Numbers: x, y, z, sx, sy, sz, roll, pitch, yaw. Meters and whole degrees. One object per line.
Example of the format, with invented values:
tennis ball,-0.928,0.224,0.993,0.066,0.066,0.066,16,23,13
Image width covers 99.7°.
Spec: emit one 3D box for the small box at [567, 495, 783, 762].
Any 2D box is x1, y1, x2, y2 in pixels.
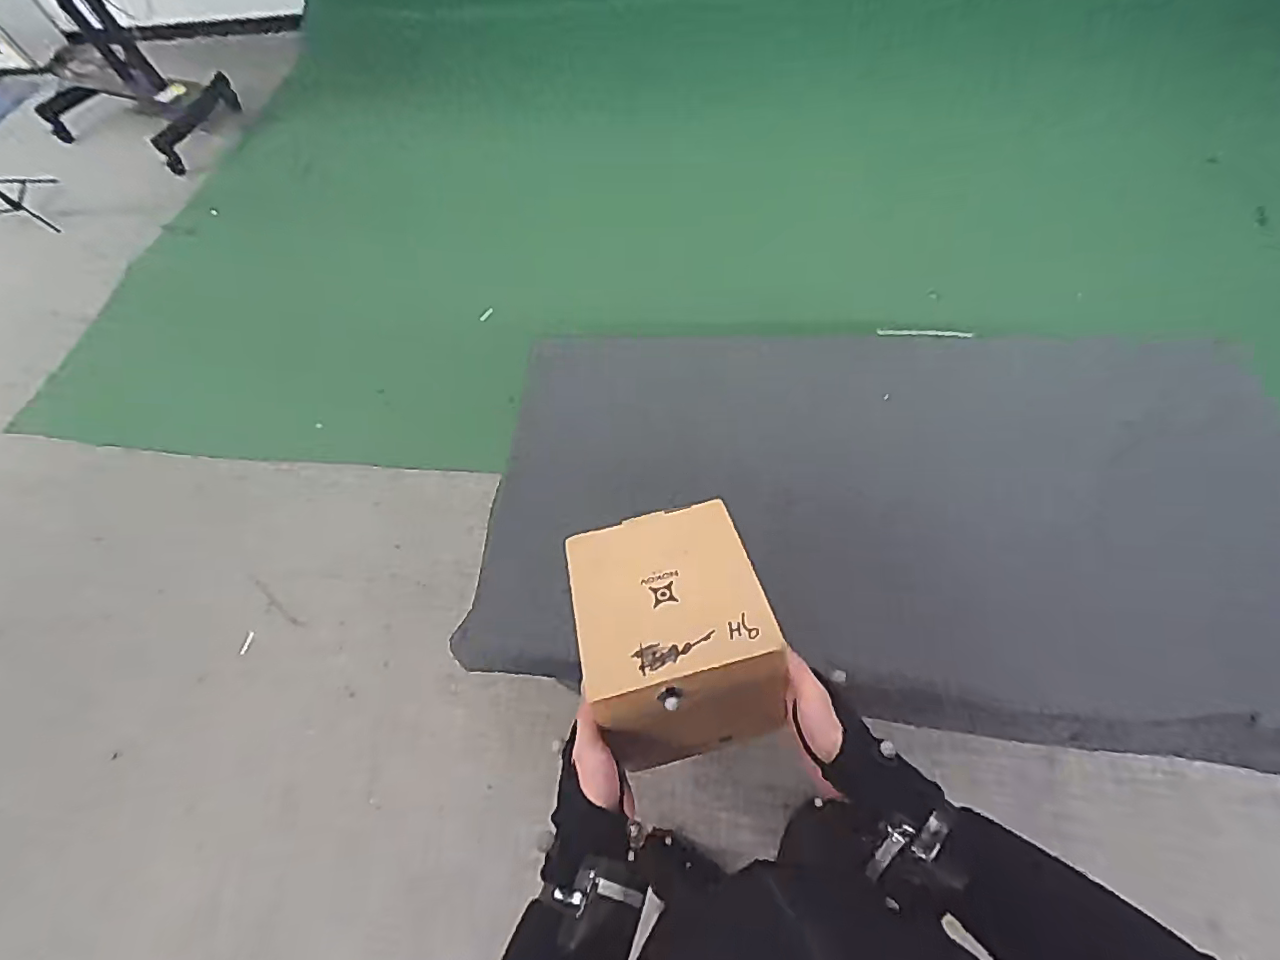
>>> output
small box,0.032,0.148,0.541,0.168,0.176,0.179,-15,43,0
